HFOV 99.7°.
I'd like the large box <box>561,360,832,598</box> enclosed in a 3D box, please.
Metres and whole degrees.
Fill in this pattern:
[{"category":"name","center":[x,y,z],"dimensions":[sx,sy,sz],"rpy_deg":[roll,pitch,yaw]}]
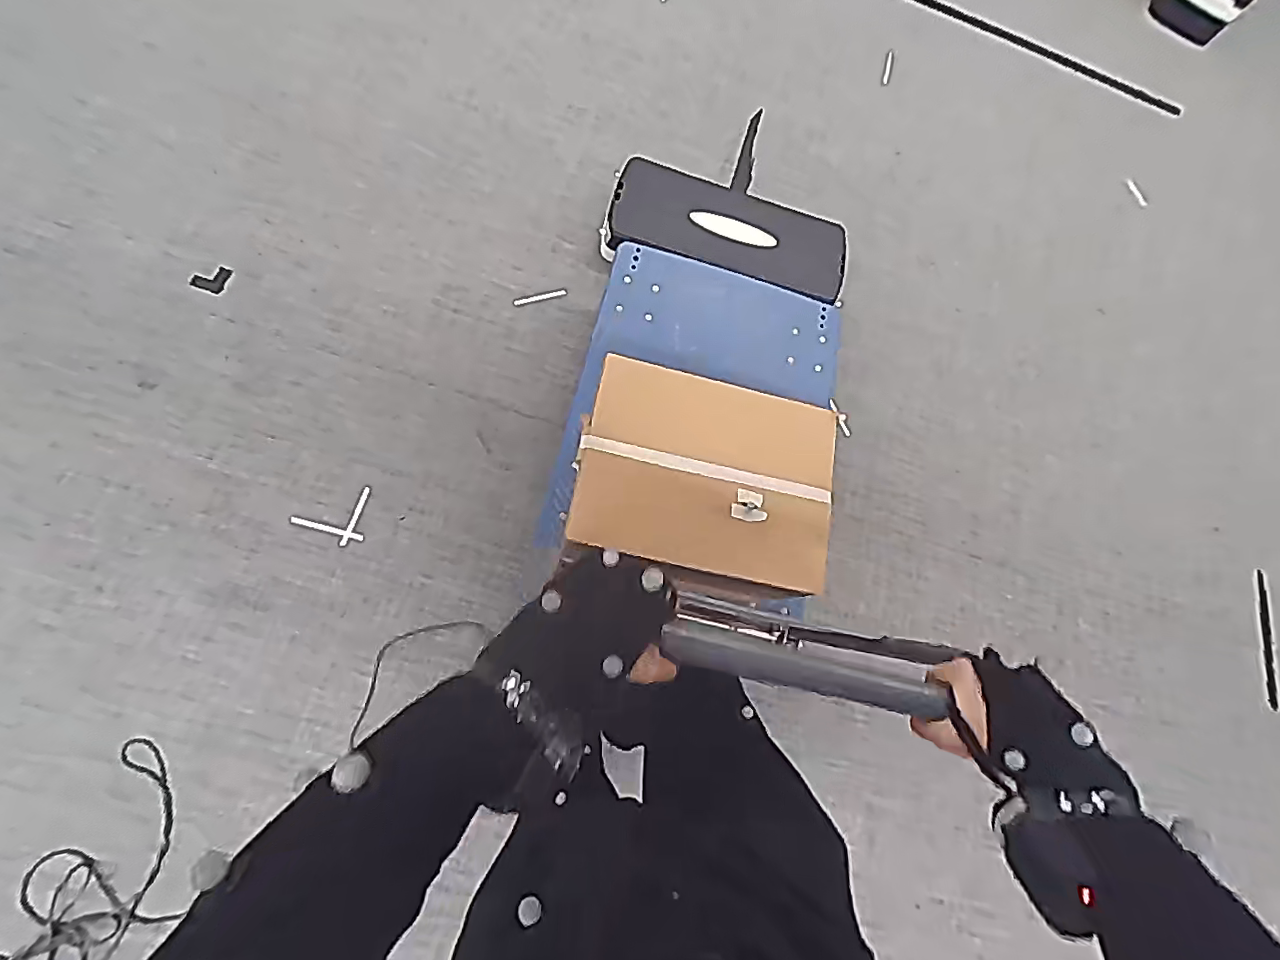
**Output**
[{"category":"large box","center":[0.085,0.025,0.999],"dimensions":[0.408,0.320,0.320],"rpy_deg":[13,74,-7]}]
